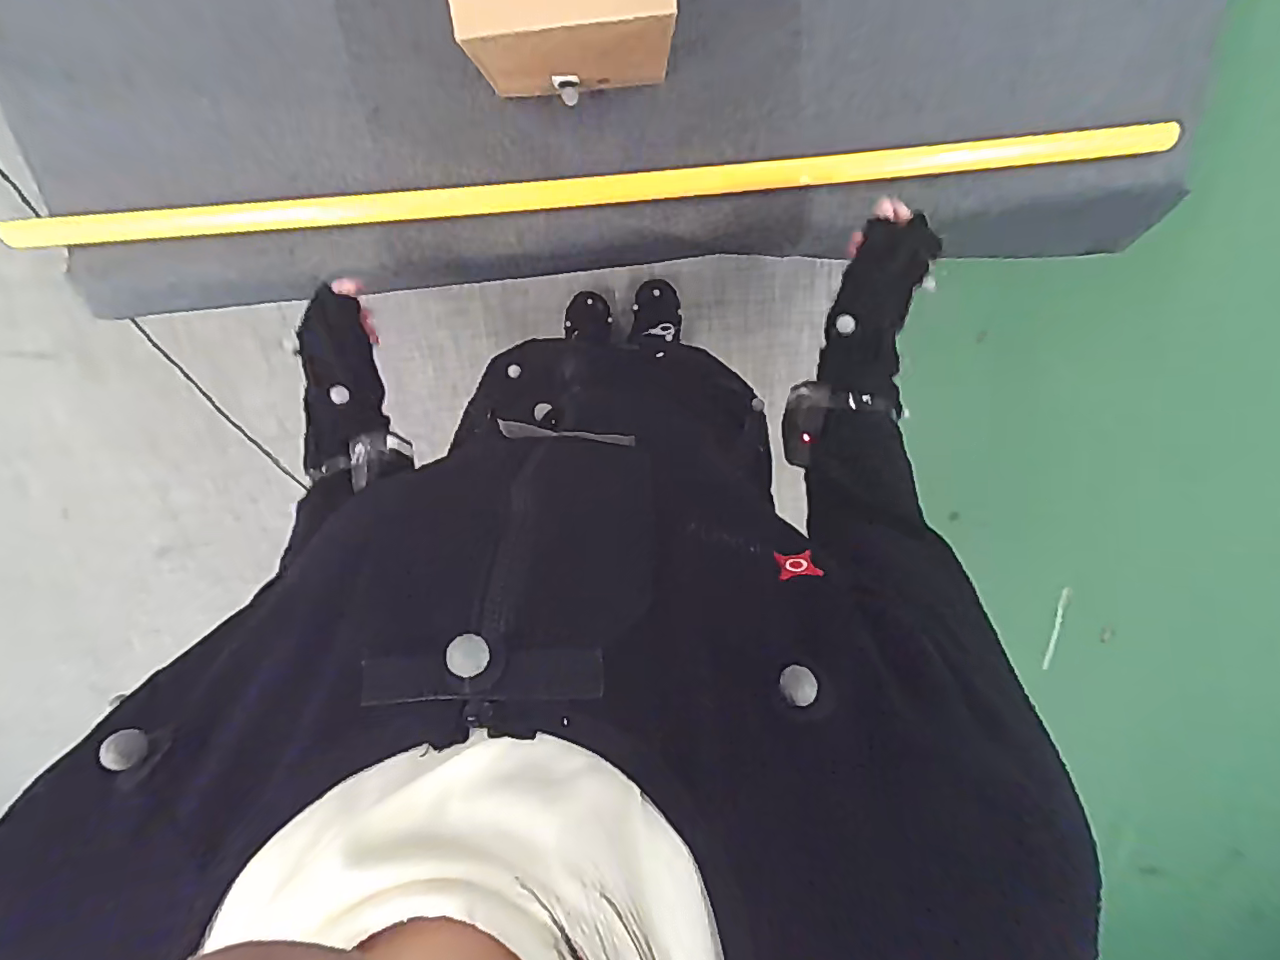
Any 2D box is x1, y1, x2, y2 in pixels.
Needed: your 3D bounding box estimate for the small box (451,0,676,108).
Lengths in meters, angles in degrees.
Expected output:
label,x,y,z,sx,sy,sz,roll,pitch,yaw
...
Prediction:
label,x,y,z,sx,sy,sz,roll,pitch,yaw
small box,-0.063,-0.438,0.445,0.168,0.176,0.179,-6,112,2
